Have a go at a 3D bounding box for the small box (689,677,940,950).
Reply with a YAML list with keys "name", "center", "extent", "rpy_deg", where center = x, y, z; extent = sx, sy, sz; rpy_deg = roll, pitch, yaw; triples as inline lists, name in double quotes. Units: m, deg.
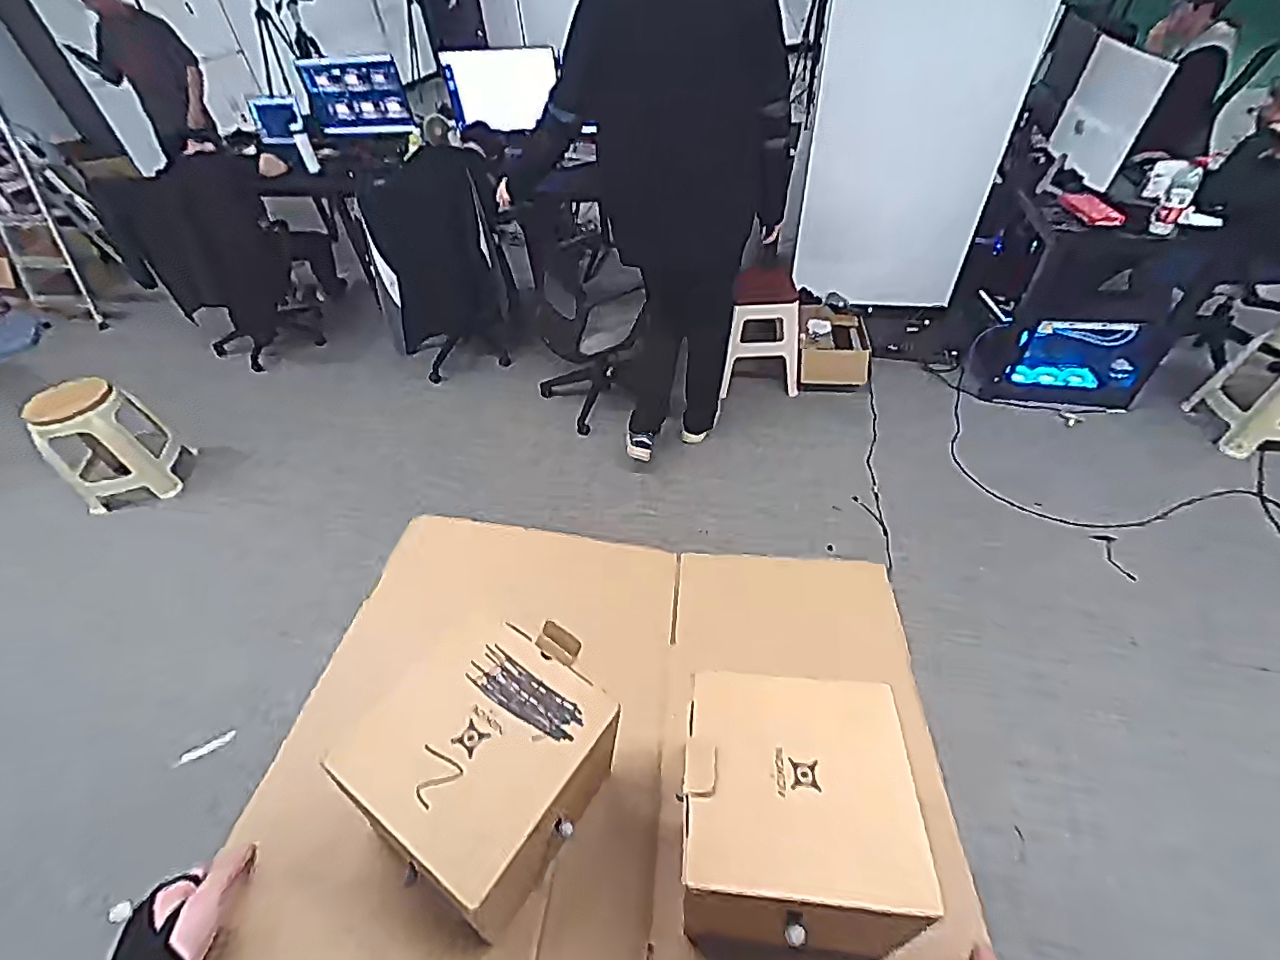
- name: "small box"
  center: [0.136, 0.302, 0.492]
  extent: [0.179, 0.176, 0.168]
  rpy_deg: [1, 41, 8]
